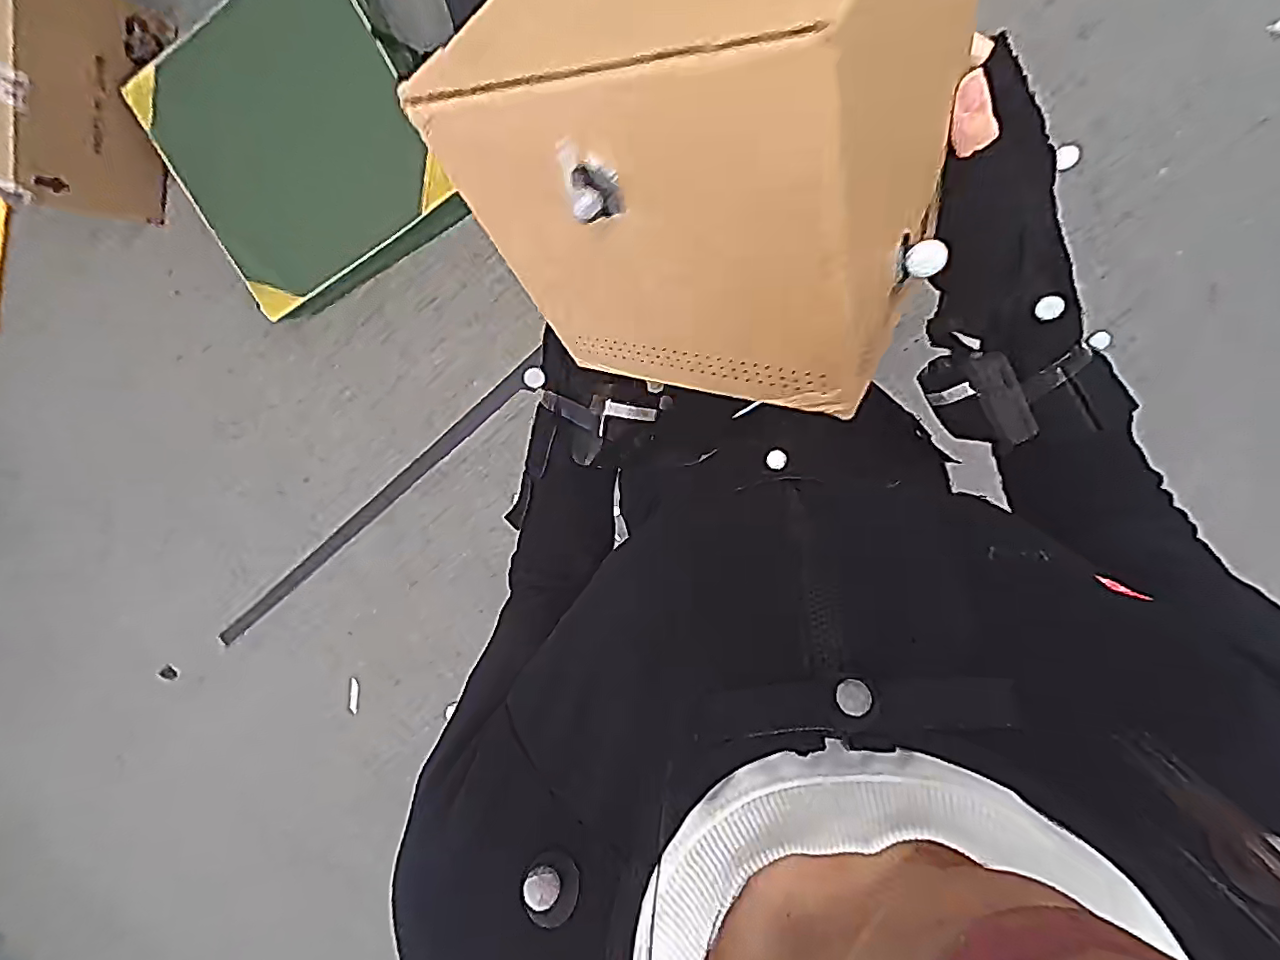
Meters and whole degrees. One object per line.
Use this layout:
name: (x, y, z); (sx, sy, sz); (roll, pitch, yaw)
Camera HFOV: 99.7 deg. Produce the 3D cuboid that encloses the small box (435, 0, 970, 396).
small box: (0.046, -0.163, 0.273); (0.179, 0.176, 0.168); (18, 69, 30)
